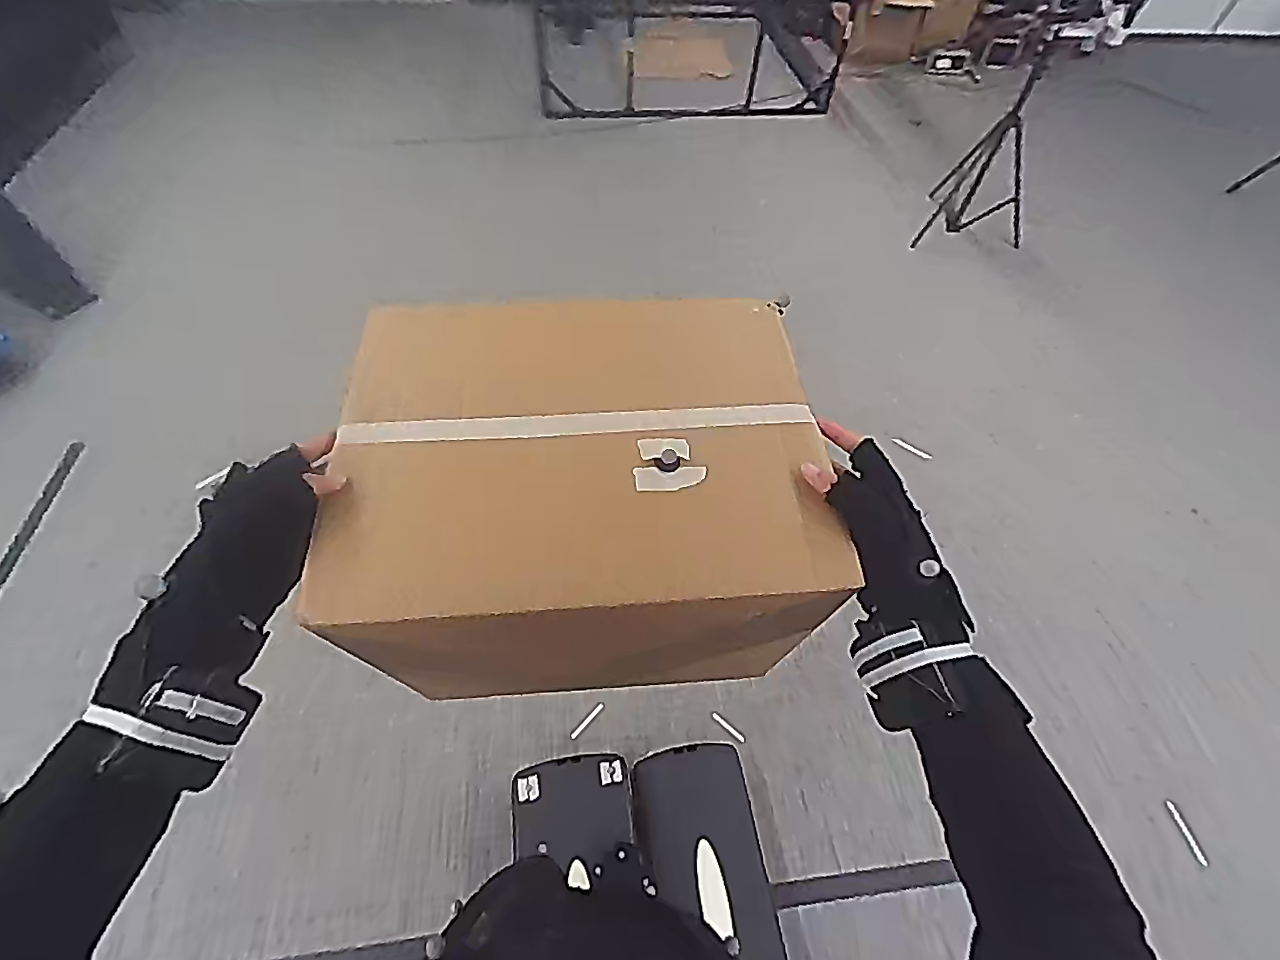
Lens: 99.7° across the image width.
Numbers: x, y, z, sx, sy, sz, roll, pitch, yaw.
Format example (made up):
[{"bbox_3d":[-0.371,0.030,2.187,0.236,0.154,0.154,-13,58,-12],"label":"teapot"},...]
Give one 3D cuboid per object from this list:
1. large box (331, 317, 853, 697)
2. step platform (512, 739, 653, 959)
[{"bbox_3d":[-0.049,0.041,0.608,0.408,0.320,0.320,-2,59,-5],"label":"large box"},{"bbox_3d":[-0.131,0.964,1.216,0.286,0.204,0.684,-7,54,-7],"label":"step platform"}]
